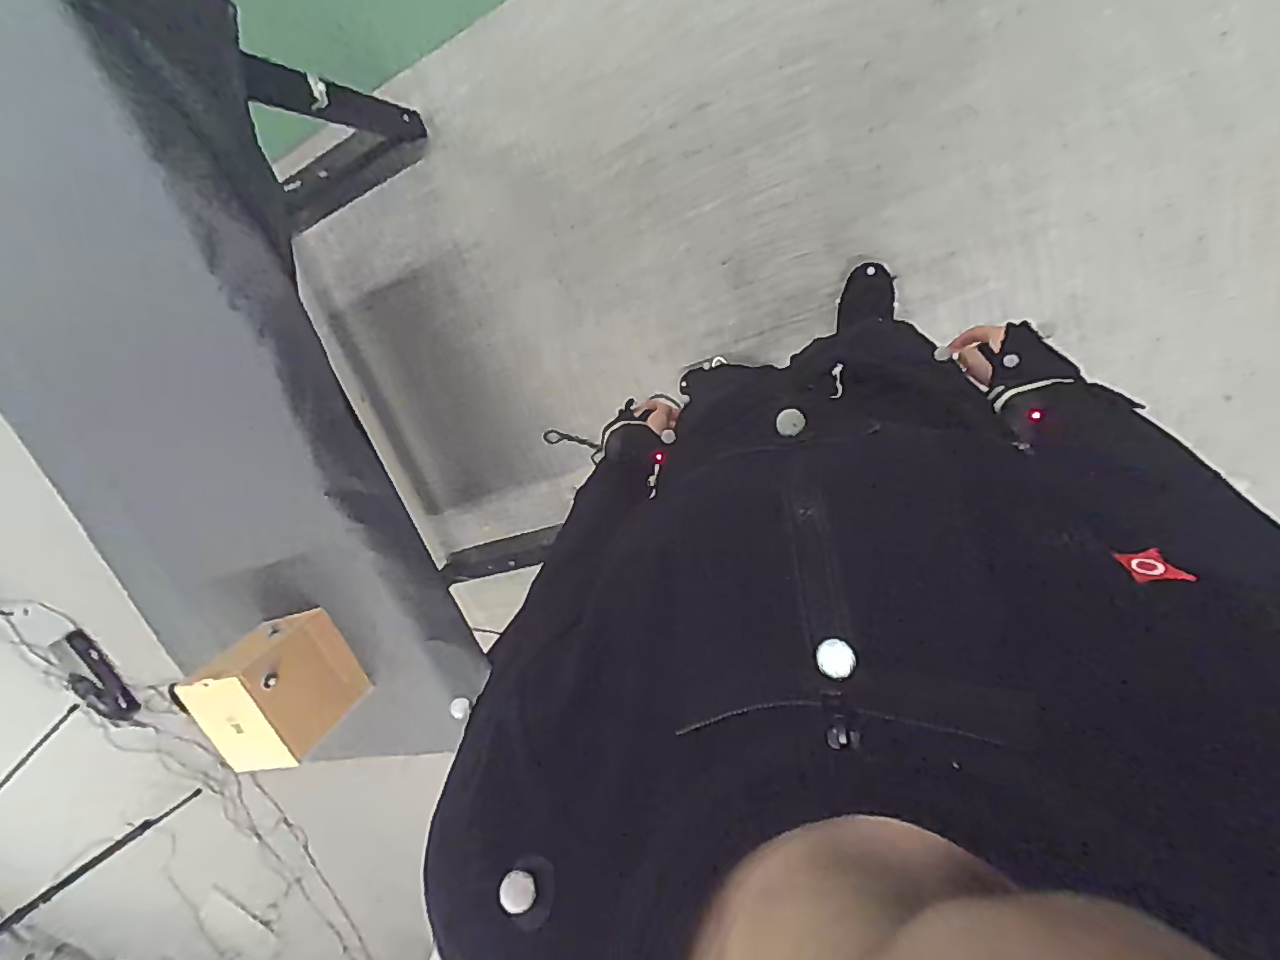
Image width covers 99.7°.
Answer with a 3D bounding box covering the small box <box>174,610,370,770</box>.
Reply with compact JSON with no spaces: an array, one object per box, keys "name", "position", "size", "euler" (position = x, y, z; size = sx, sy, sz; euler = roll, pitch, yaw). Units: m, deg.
[{"name":"small box","position":[-0.592,0.342,0.892],"size":[0.168,0.176,0.179],"euler":[-17,106,23]}]
